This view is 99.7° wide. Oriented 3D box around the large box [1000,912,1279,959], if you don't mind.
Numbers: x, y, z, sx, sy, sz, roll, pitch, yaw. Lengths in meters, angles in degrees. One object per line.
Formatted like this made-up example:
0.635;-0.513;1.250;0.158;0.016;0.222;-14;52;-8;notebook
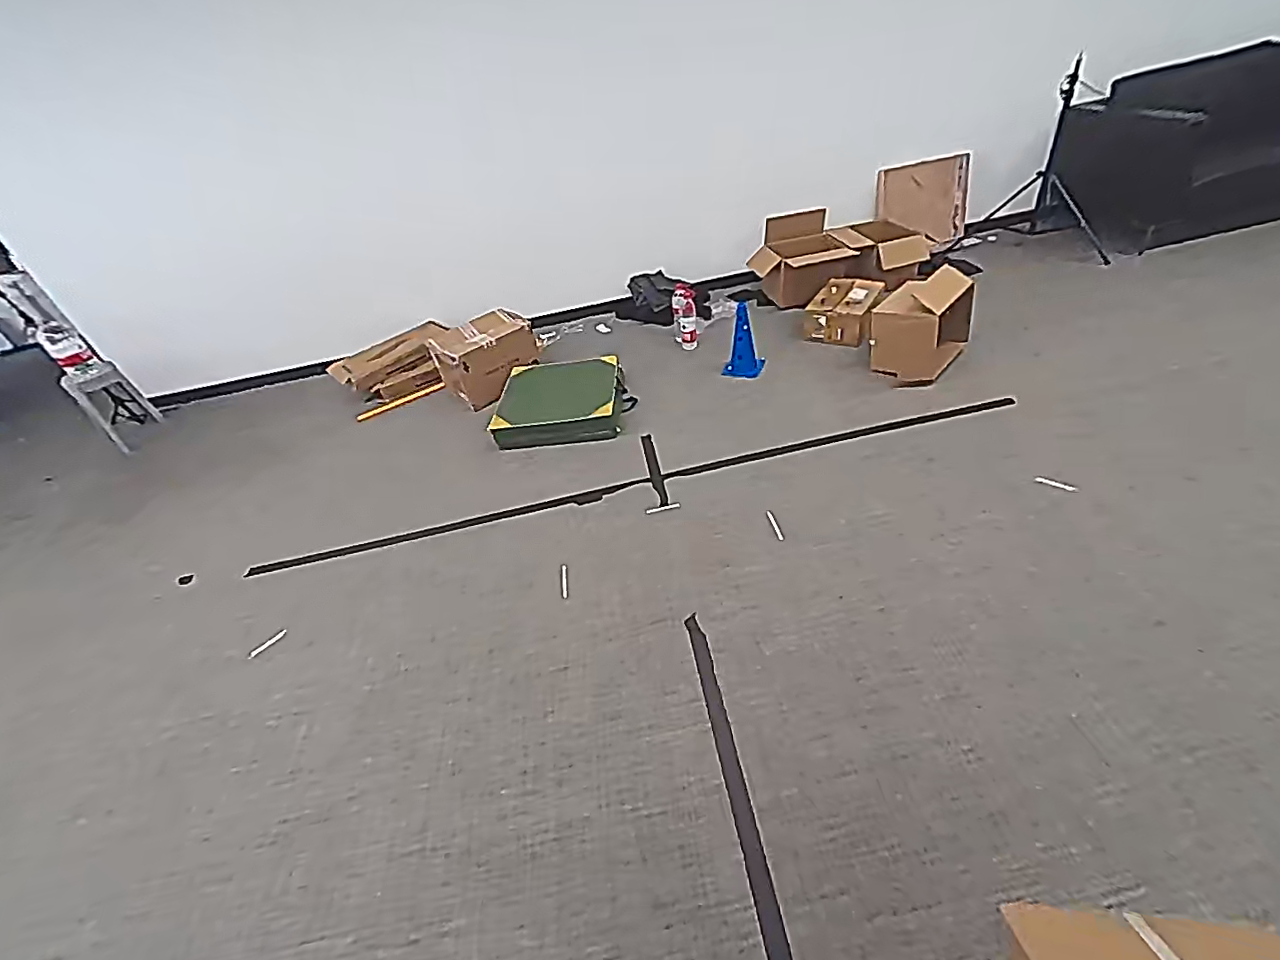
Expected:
0.608;0.724;0.511;0.320;0.320;0.408;-5;-3;12;large box
